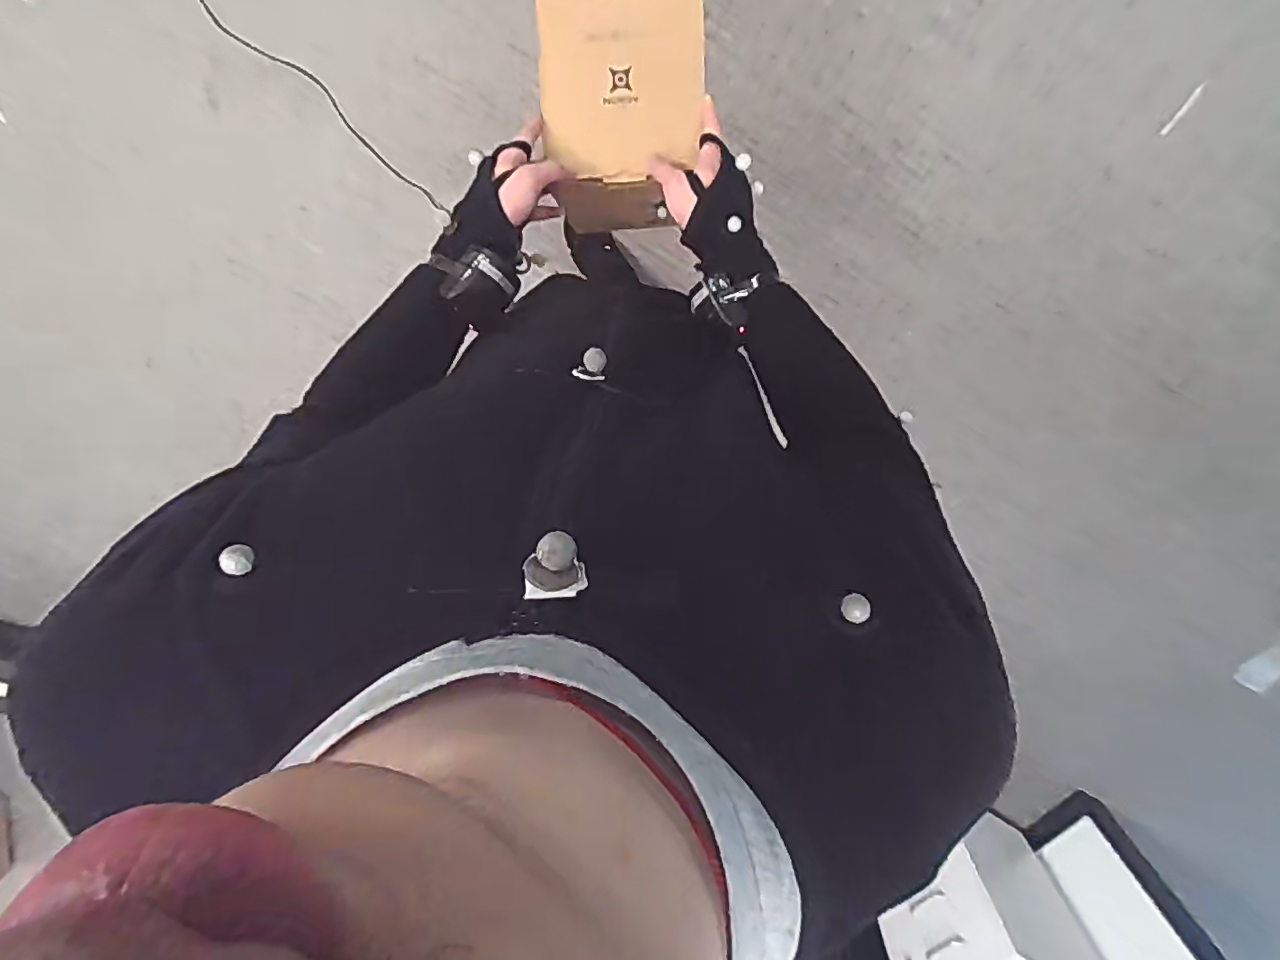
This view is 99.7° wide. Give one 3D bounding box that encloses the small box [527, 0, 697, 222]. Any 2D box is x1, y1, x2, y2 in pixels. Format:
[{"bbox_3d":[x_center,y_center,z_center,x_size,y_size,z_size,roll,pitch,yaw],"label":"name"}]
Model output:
[{"bbox_3d":[-0.019,-0.403,0.606,0.168,0.176,0.179,-1,97,5],"label":"small box"}]
